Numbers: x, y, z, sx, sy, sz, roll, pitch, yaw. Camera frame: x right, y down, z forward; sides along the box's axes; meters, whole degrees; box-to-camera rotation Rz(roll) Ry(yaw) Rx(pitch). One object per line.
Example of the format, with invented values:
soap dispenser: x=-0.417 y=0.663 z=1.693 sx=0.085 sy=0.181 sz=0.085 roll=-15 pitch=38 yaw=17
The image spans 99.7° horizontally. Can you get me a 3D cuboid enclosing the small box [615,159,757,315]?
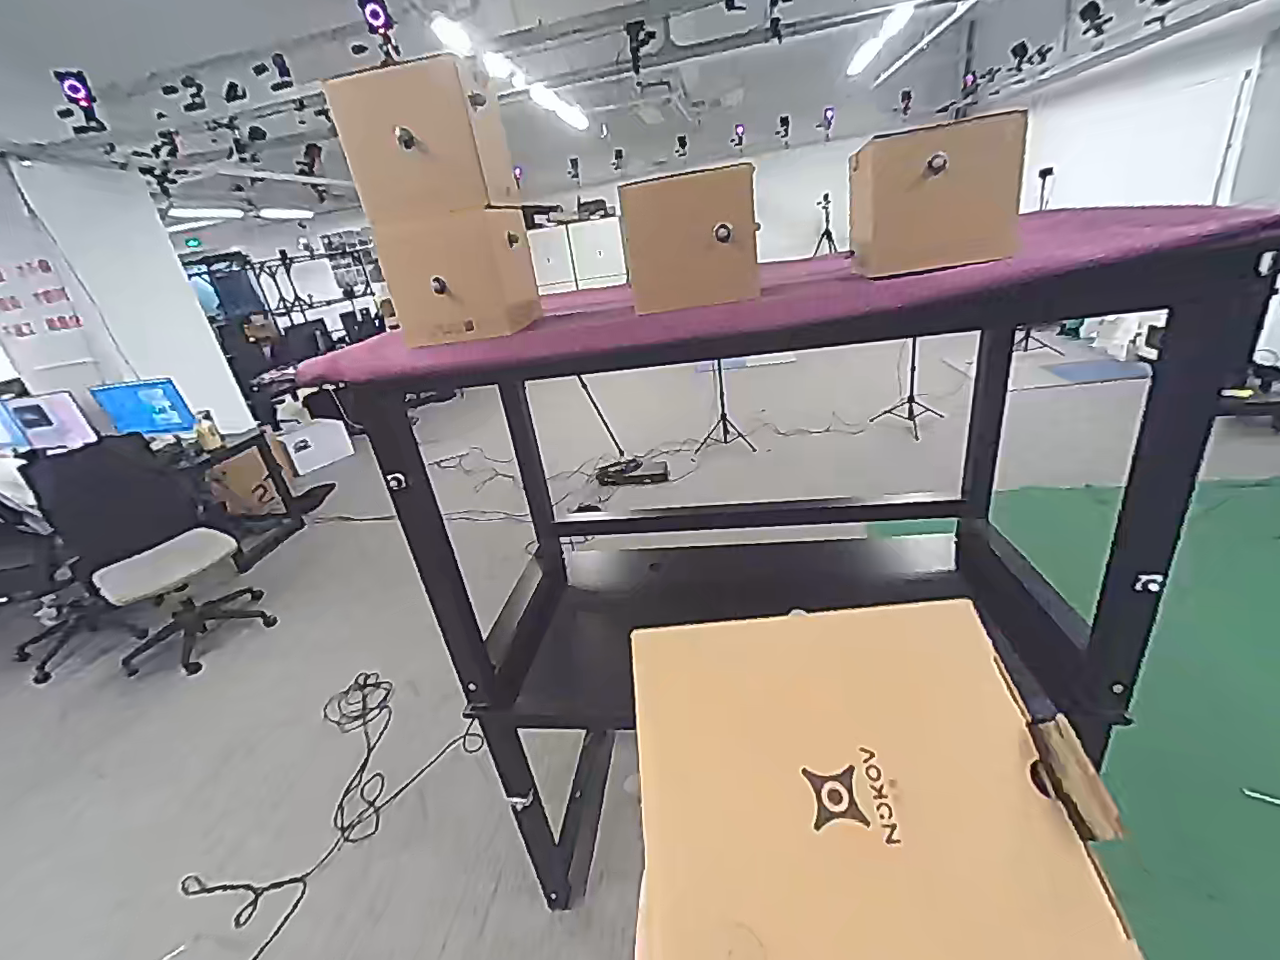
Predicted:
small box: x=0.074 y=-0.346 z=0.781 sx=0.179 sy=0.176 sz=0.168 roll=-6 pitch=24 yaw=10

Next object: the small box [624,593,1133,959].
small box: x=0.090 y=0.180 z=0.293 sx=0.179 sy=0.176 sz=0.168 roll=-6 pitch=52 yaw=1

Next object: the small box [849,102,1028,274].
small box: x=0.393 y=-0.385 z=0.743 sx=0.179 sy=0.176 sz=0.168 roll=-4 pitch=23 yaw=12

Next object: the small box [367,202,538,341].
small box: x=-0.265 y=-0.311 z=0.814 sx=0.168 sy=0.176 sz=0.179 roll=-4 pitch=26 yaw=8
